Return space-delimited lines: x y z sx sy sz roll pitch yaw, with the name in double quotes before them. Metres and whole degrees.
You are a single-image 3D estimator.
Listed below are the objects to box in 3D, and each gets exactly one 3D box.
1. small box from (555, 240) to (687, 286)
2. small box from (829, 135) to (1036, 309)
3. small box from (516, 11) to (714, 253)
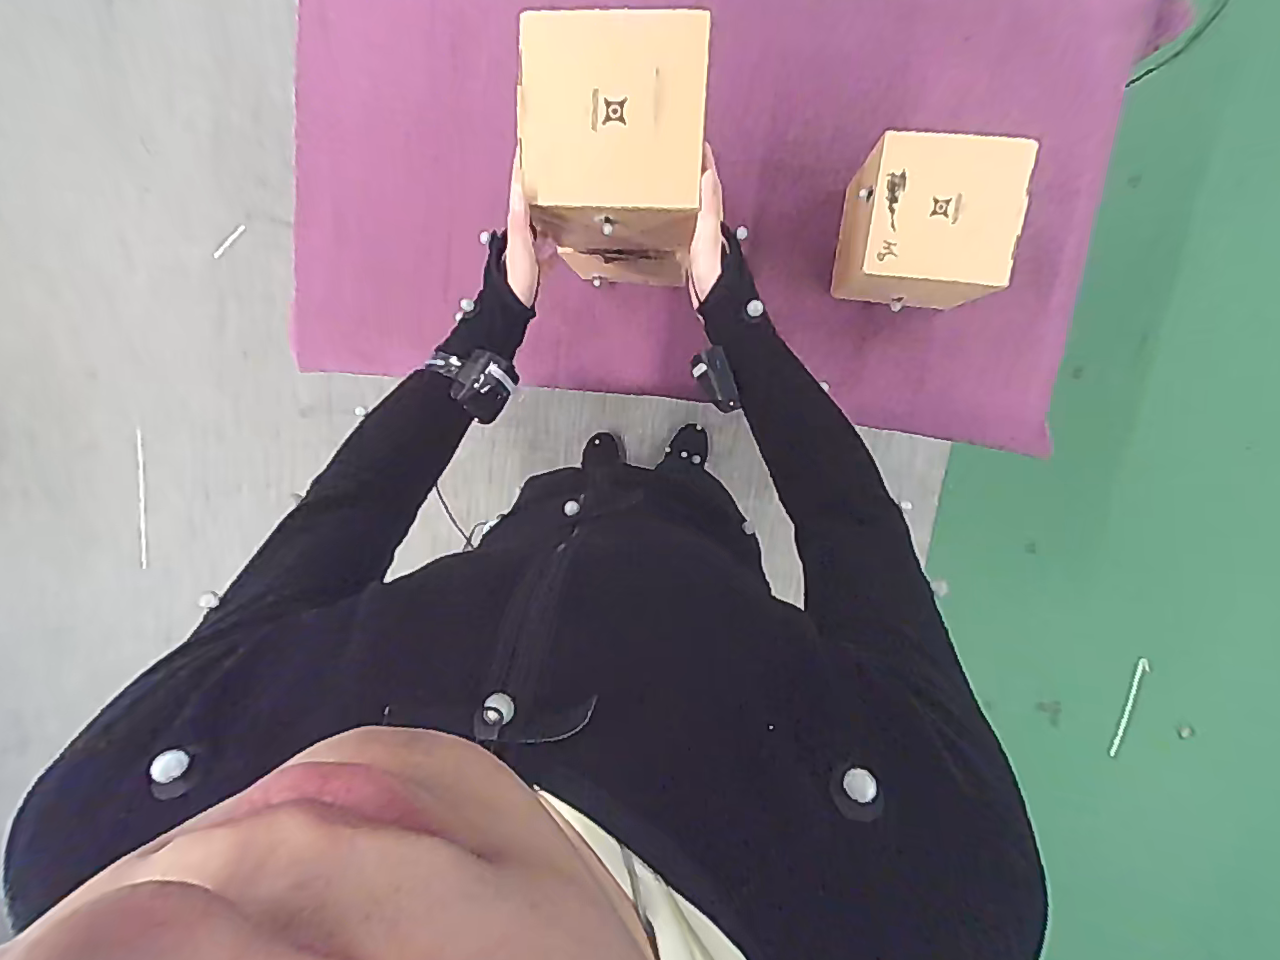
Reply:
"small box" -0.014 -0.379 0.753 0.168 0.176 0.179 6 98 4
"small box" 0.375 -0.331 0.727 0.179 0.176 0.168 7 99 3
"small box" -0.021 -0.346 0.571 0.179 0.176 0.168 4 101 3
